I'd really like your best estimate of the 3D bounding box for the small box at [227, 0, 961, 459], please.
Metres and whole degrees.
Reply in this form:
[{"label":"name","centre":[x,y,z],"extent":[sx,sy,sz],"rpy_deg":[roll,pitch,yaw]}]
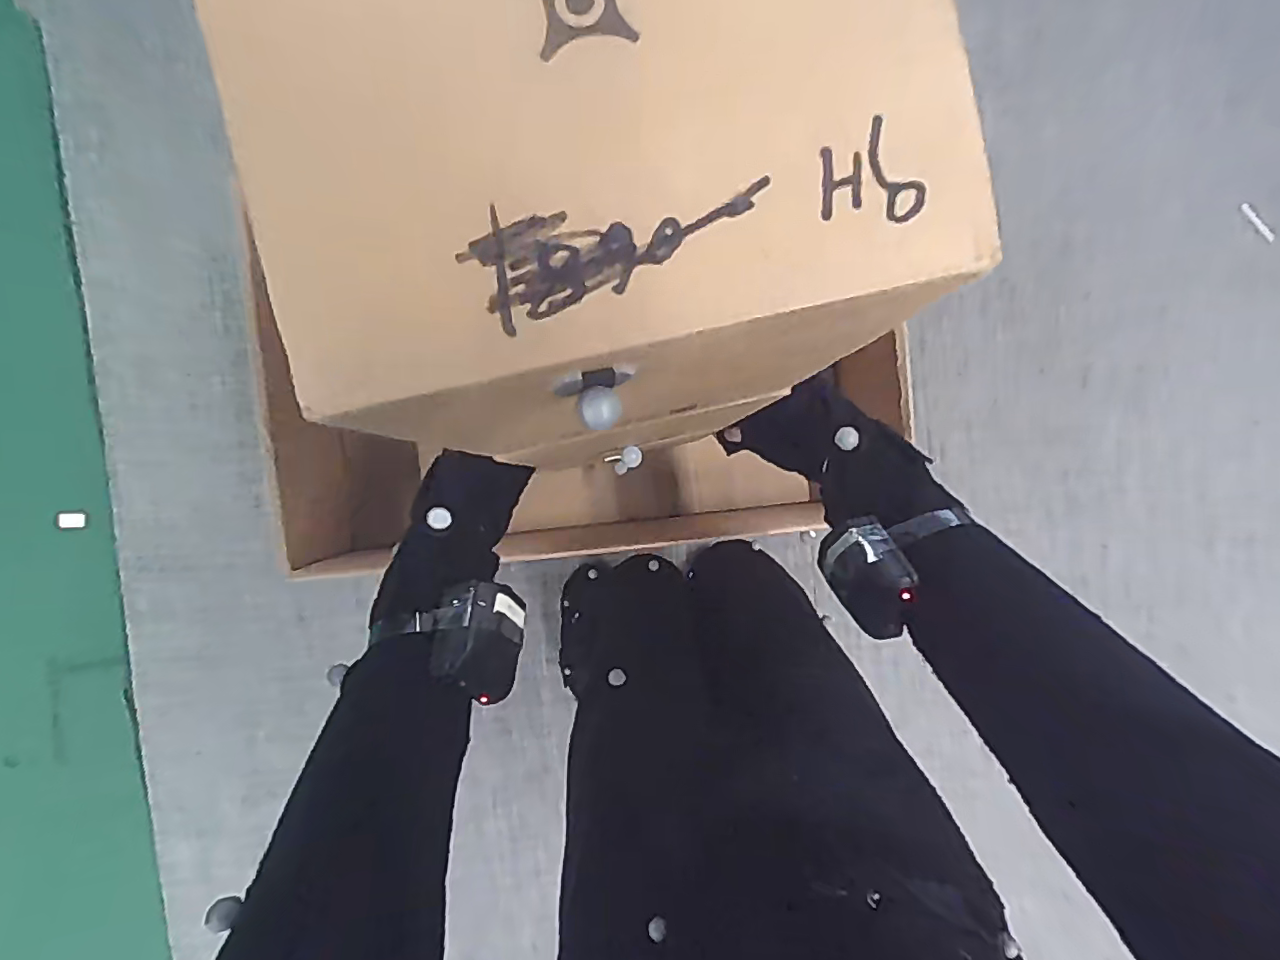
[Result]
[{"label":"small box","centre":[-0.019,-0.114,0.215],"extent":[0.168,0.176,0.179],"rpy_deg":[-13,89,-1]}]
